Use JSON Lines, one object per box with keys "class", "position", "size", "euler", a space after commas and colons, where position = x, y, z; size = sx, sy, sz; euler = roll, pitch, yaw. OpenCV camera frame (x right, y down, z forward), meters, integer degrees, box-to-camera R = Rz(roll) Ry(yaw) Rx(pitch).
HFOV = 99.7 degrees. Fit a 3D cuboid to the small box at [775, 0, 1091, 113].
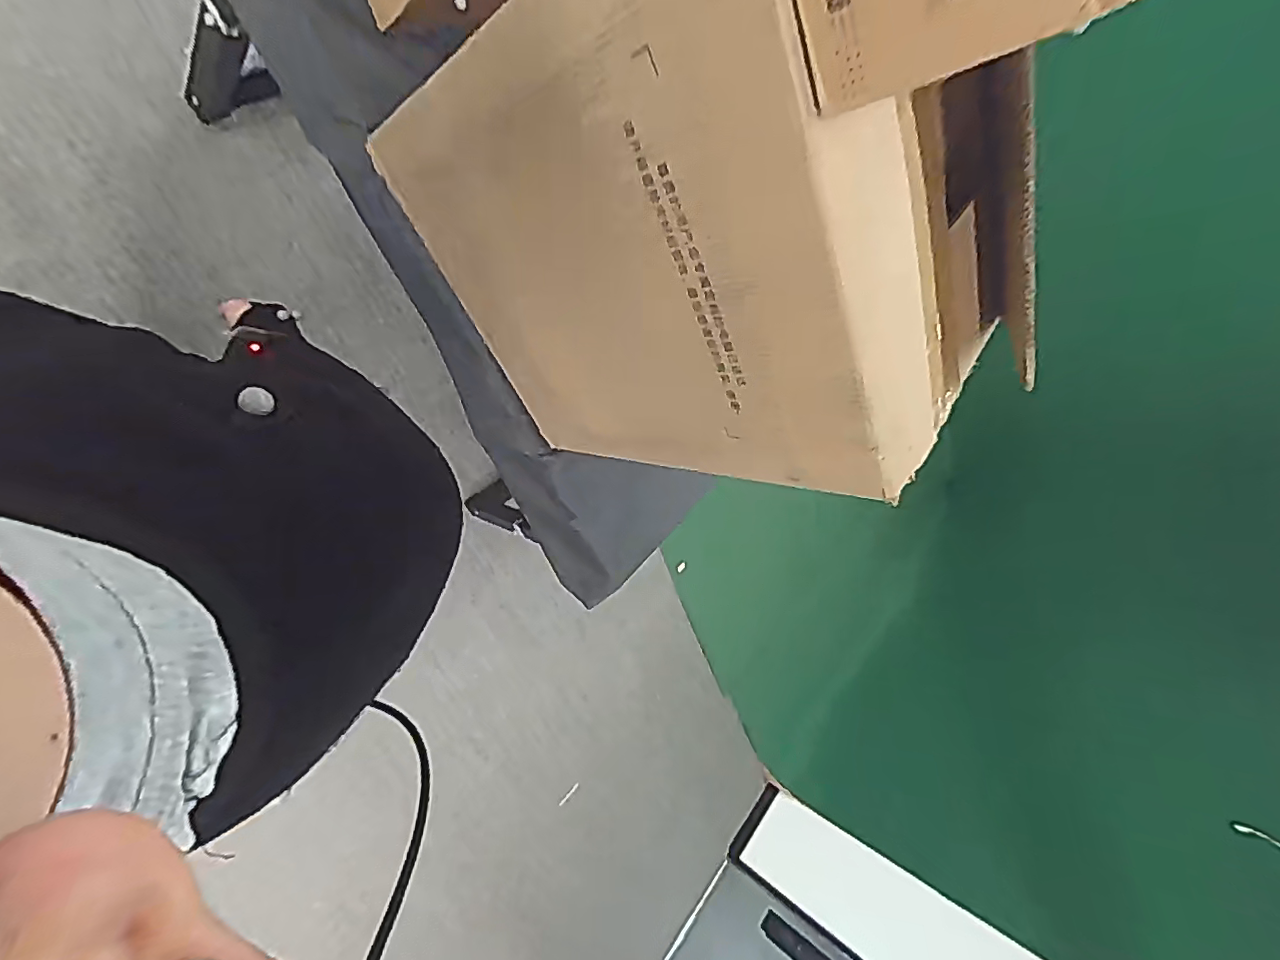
{"class": "small box", "position": [0.181, -0.347, 0.308], "size": [0.179, 0.176, 0.168], "euler": [-46, 126, -28]}
